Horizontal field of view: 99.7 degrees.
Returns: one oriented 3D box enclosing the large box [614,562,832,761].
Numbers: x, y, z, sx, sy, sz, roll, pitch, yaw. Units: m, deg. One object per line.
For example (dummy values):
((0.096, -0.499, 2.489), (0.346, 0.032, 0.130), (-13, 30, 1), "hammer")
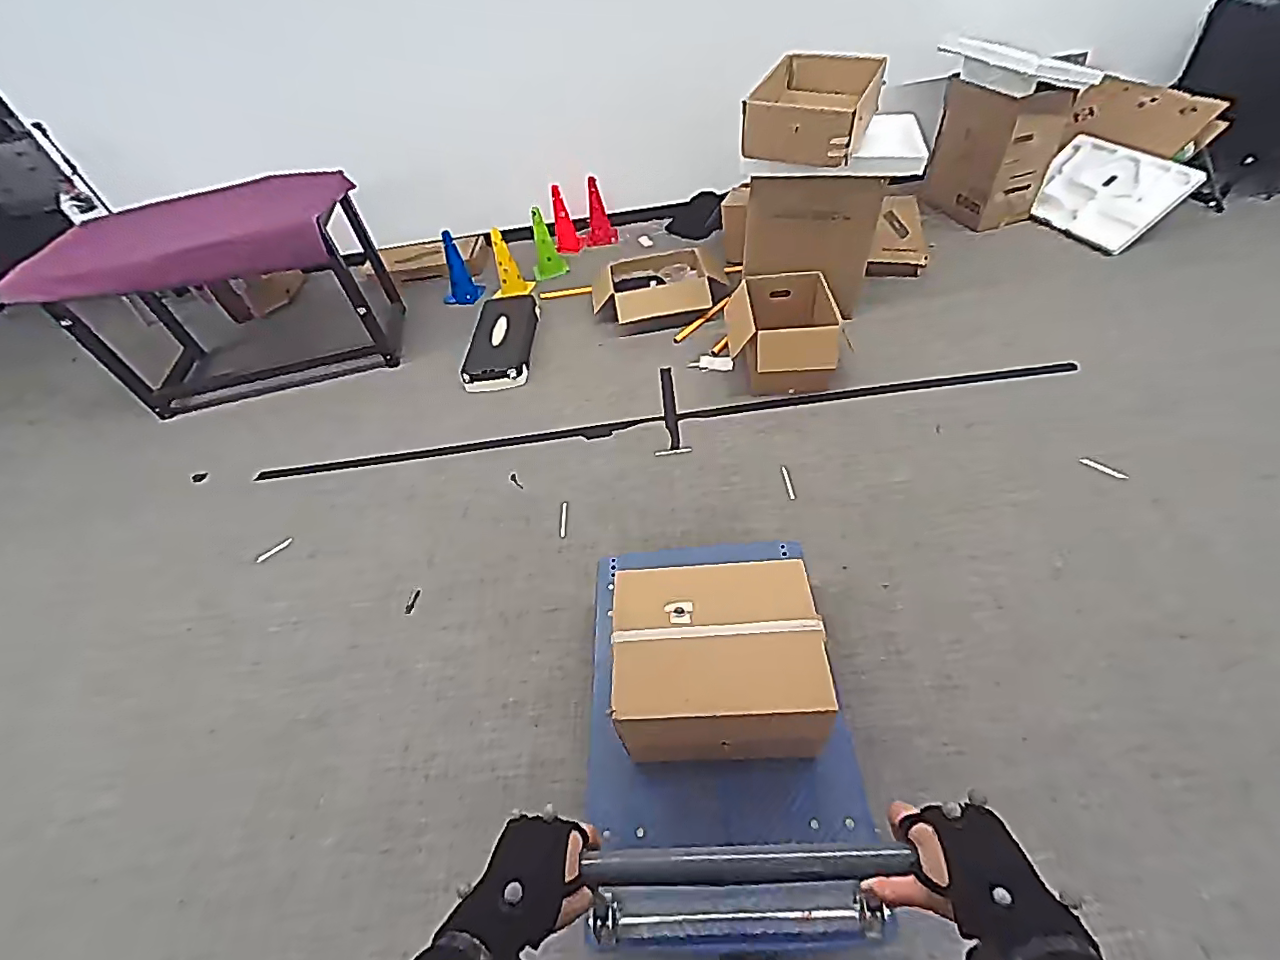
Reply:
((0.167, 0.408, 1.192), (0.408, 0.320, 0.320), (-6, 48, 5), "large box")
